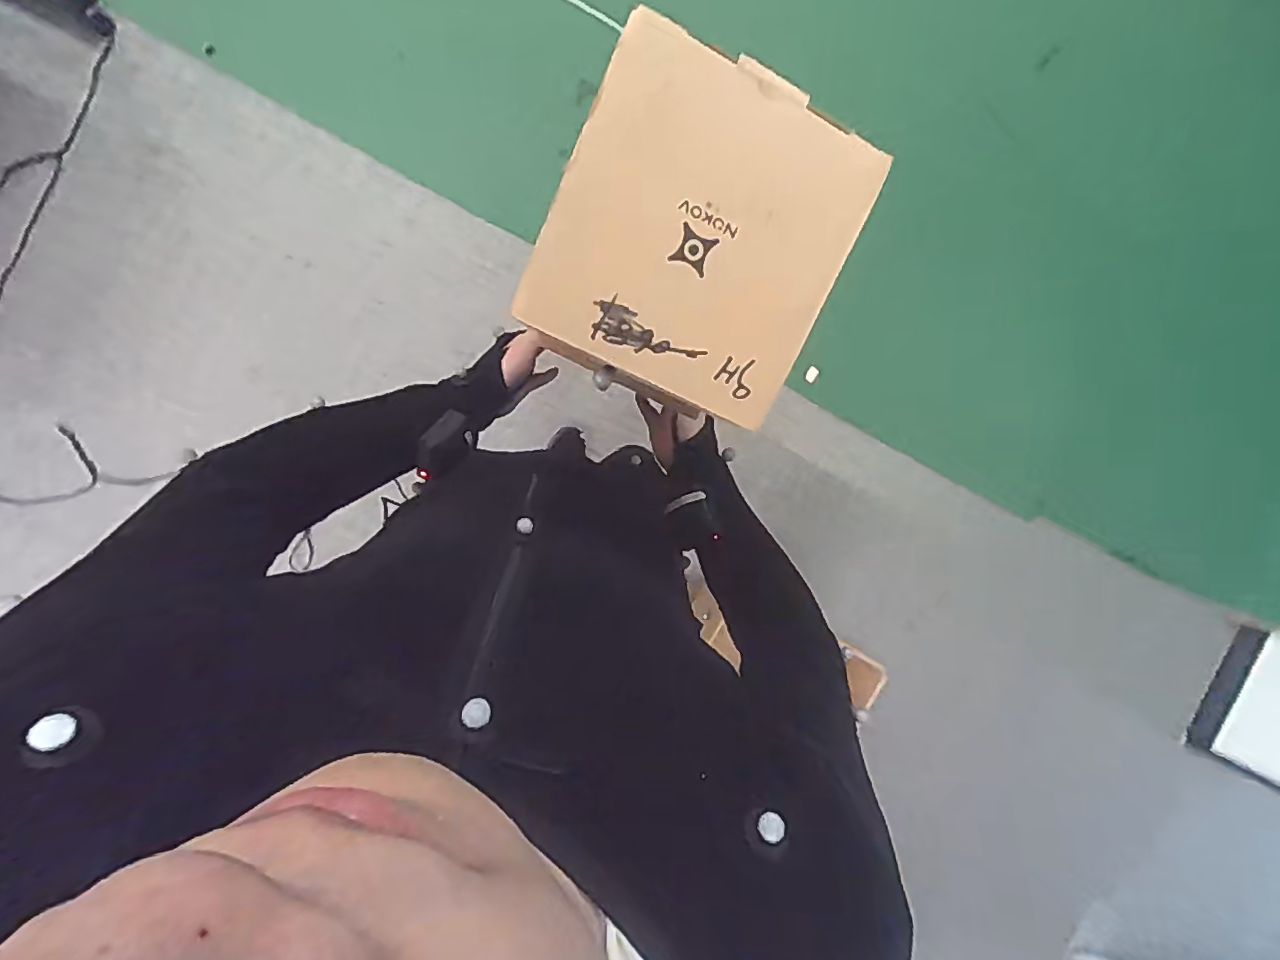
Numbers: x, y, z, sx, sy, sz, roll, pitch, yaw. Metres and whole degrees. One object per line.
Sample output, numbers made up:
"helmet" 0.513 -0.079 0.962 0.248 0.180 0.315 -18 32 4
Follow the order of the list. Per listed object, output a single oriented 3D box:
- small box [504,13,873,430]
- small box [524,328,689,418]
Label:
"small box" 0.021 -0.156 0.389 0.168 0.176 0.179 24 100 -10
"small box" 0.000 -0.182 0.549 0.168 0.176 0.179 24 99 -11
